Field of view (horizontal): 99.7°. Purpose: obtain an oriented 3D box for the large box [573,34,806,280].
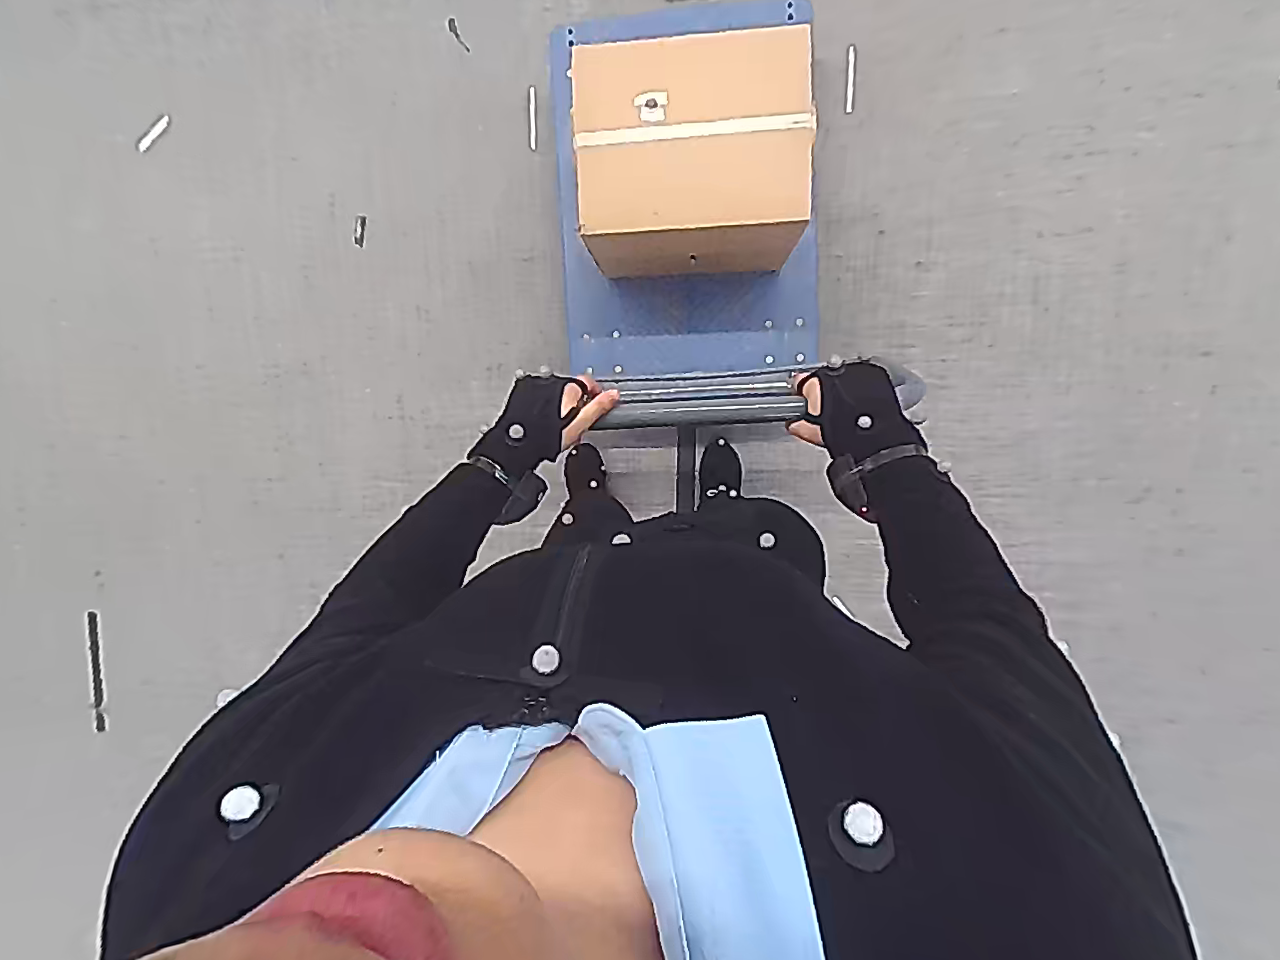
[{"bbox_3d":[0.102,-0.612,1.097,0.408,0.320,0.320,-2,95,6],"label":"large box"}]
